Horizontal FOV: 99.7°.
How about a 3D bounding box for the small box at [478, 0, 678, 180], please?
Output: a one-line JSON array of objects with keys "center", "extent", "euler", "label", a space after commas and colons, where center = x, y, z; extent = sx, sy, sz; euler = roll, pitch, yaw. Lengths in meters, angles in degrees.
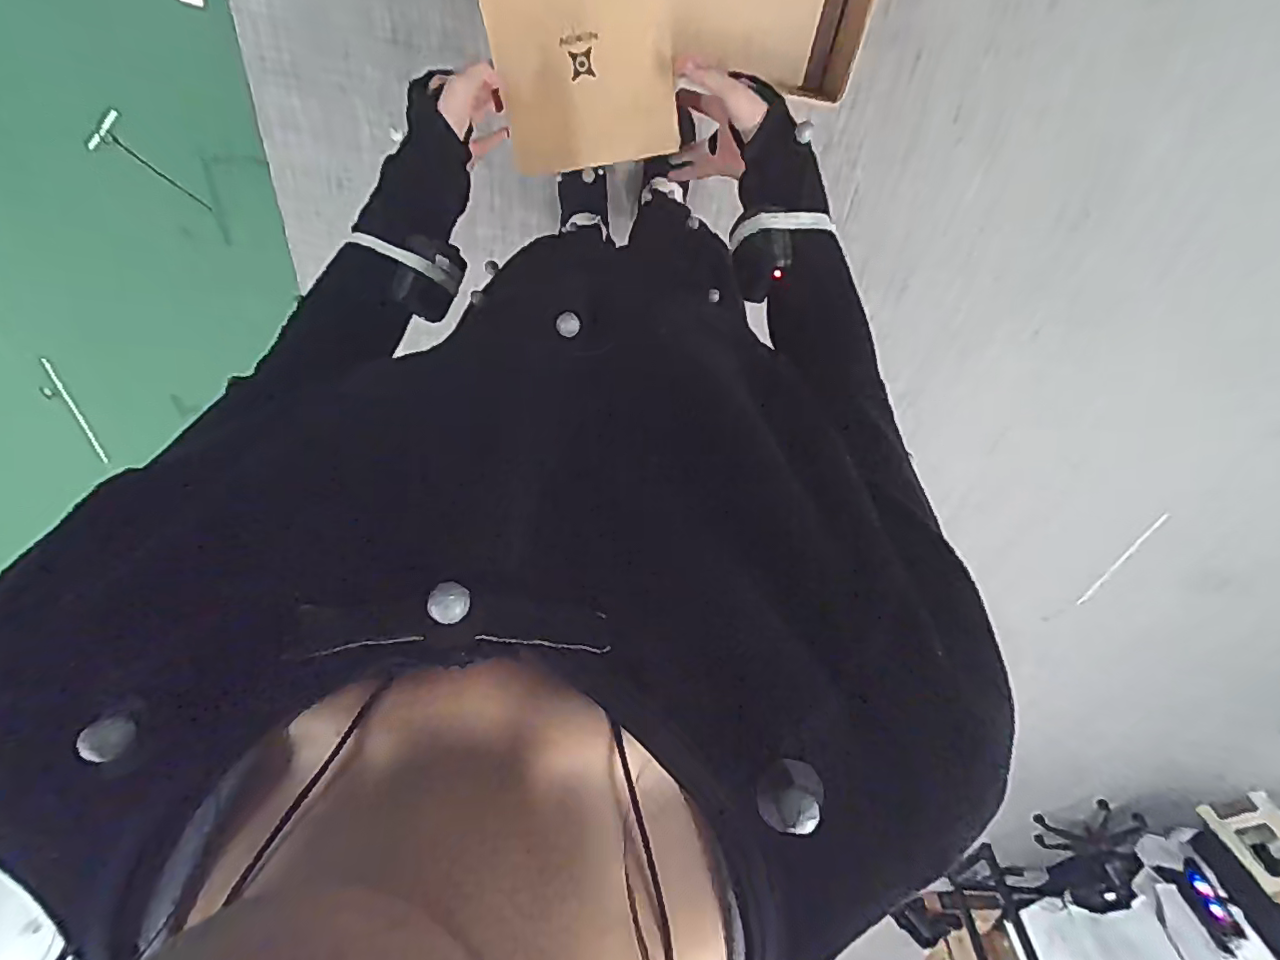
[{"center": [-0.050, -0.426, 0.562], "extent": [0.168, 0.176, 0.179], "euler": [-5, 120, 7], "label": "small box"}]
